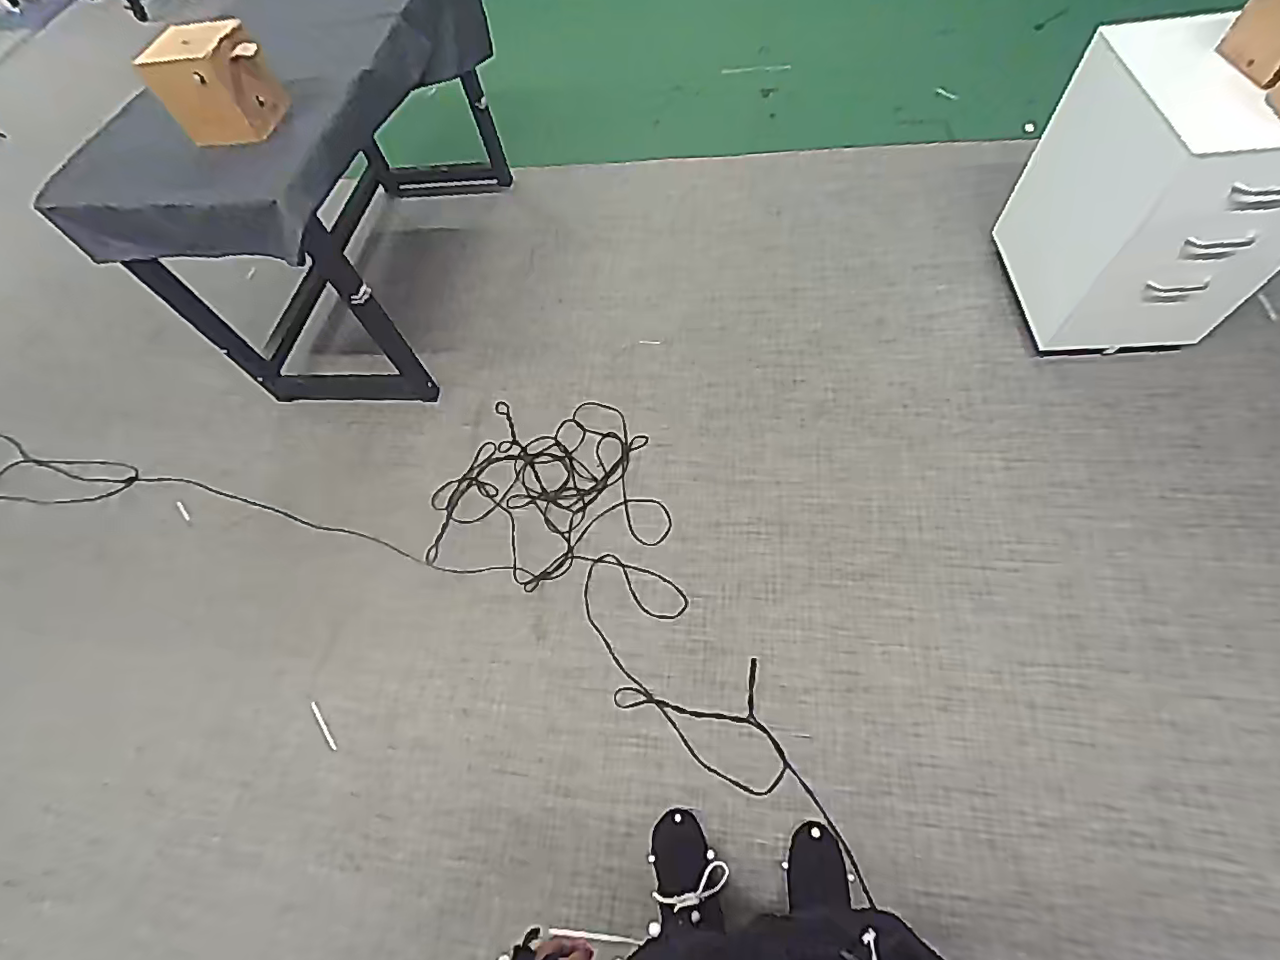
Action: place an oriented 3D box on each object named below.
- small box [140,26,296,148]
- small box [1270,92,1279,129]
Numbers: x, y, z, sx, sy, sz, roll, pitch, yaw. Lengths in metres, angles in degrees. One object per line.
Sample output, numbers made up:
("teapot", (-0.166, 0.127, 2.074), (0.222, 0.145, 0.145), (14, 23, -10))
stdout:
("small box", (-0.923, -0.866, 1.202), (0.179, 0.176, 0.168), (1, 60, 8))
("small box", (1.319, -0.713, 0.973), (0.179, 0.176, 0.168), (2, 62, 8))
